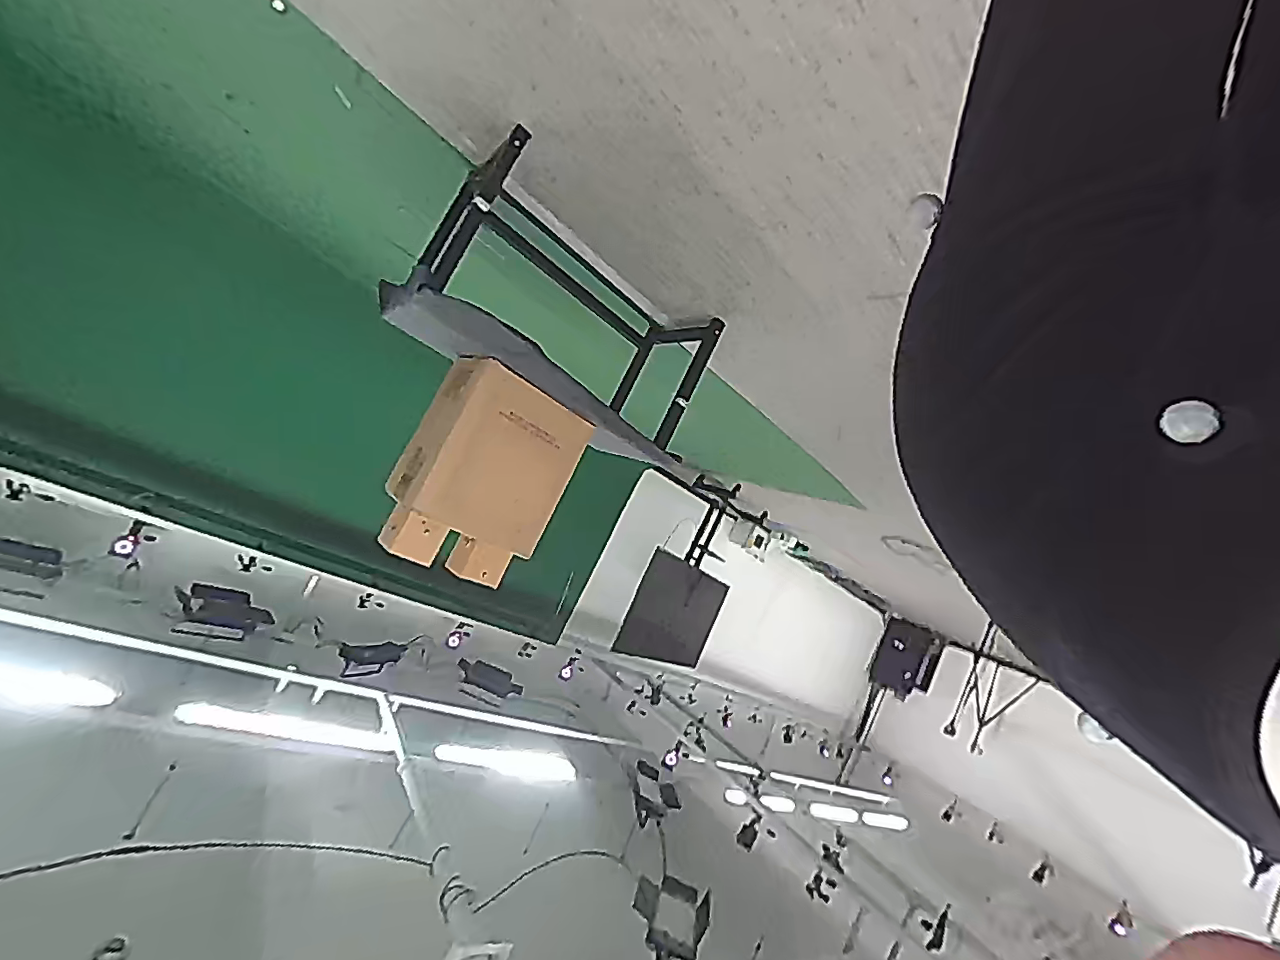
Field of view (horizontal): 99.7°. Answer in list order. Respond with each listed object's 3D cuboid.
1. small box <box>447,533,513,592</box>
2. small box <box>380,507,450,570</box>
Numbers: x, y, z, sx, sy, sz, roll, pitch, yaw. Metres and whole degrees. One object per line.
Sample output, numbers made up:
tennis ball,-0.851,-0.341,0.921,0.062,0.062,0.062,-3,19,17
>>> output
small box,-0.656,0.338,2.234,0.179,0.176,0.168,34,166,-39
small box,-0.857,0.218,2.065,0.168,0.176,0.179,34,167,-39
